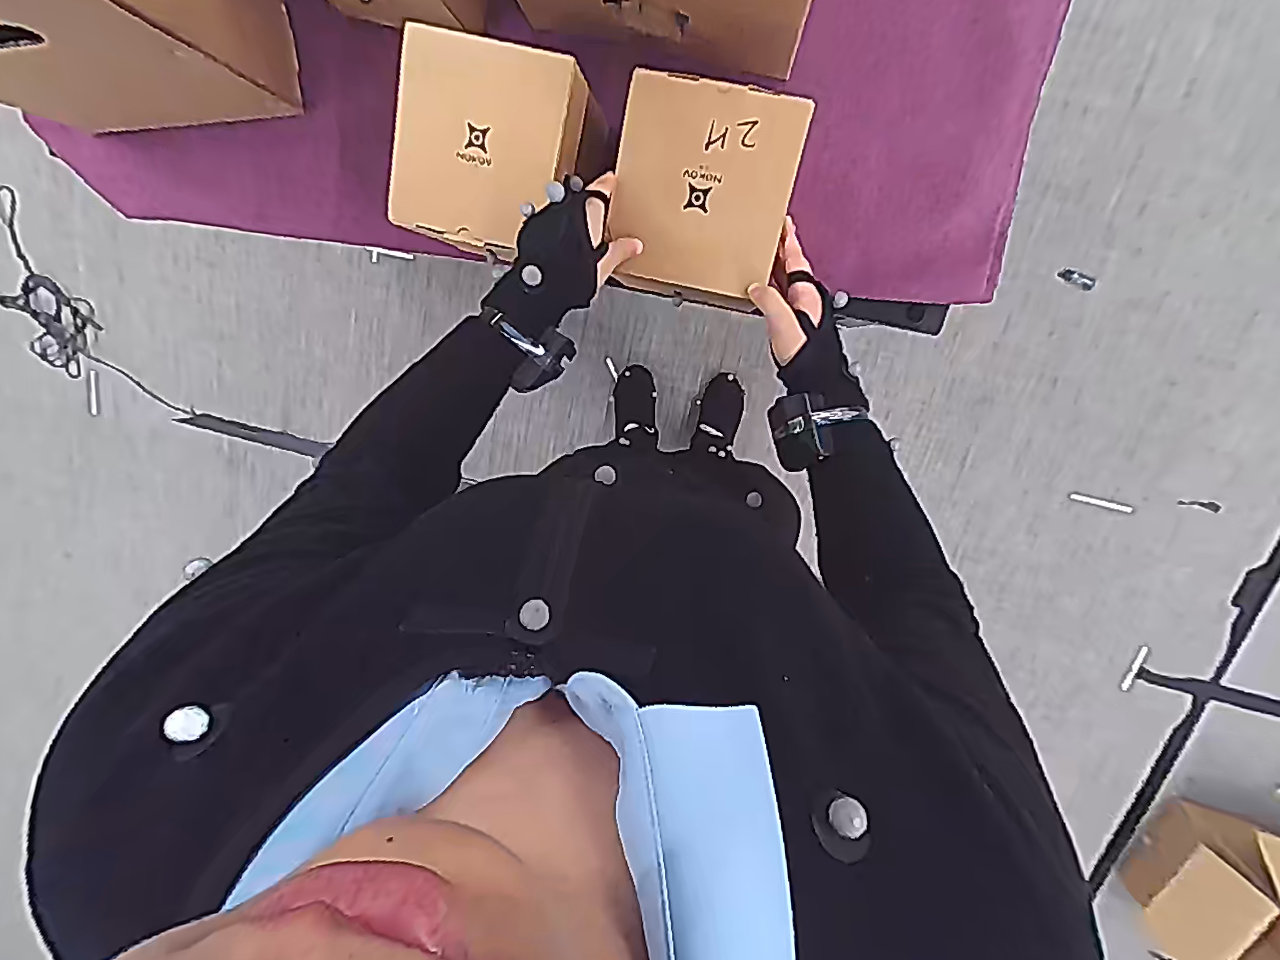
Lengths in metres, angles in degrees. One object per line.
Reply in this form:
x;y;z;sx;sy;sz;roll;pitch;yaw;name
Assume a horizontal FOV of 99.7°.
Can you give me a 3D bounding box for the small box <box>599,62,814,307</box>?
0.067;-0.290;0.573;0.168;0.176;0.179;14;105;4;small box
